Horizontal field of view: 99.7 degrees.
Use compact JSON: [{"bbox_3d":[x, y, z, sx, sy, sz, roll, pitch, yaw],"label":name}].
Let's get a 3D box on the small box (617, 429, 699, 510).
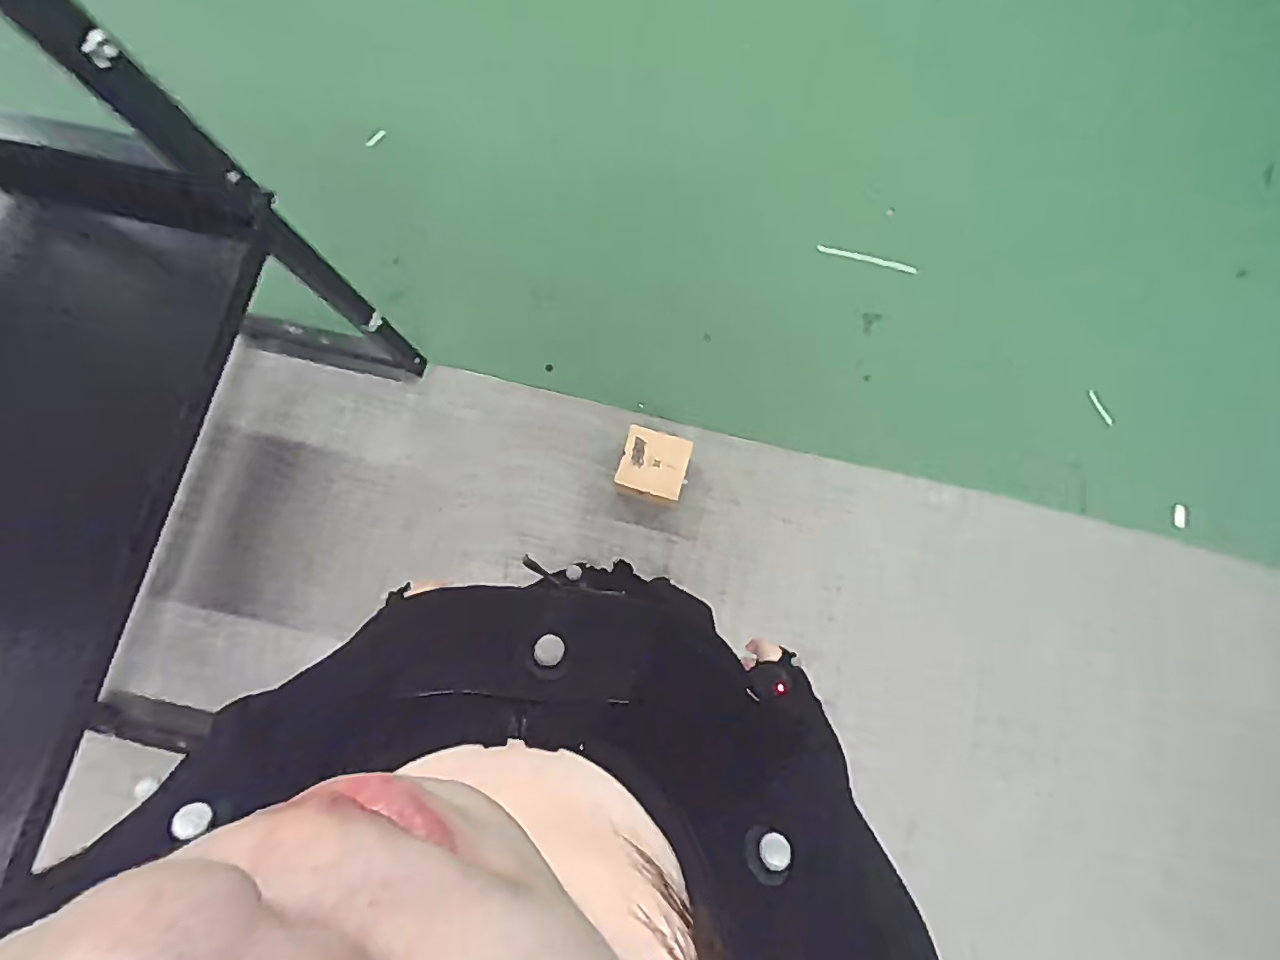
[{"bbox_3d":[0.046,-0.021,1.476,0.179,0.176,0.168,17,81,2],"label":"small box"}]
